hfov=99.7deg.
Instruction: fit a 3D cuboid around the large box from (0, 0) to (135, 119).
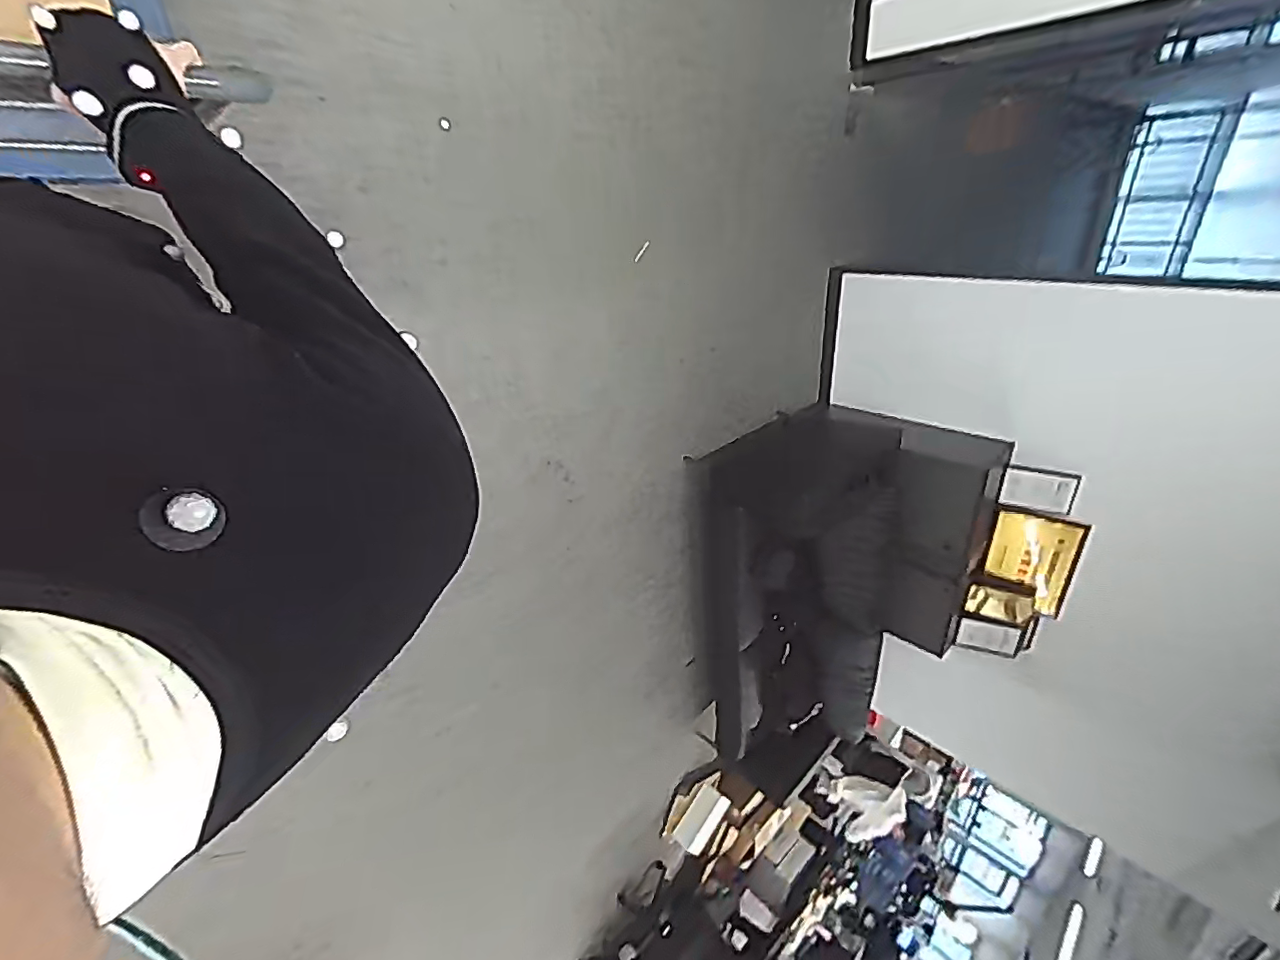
[{"bbox_3d":[-0.948,-0.732,0.700,0.320,0.320,0.408,-25,124,-38],"label":"large box"}]
